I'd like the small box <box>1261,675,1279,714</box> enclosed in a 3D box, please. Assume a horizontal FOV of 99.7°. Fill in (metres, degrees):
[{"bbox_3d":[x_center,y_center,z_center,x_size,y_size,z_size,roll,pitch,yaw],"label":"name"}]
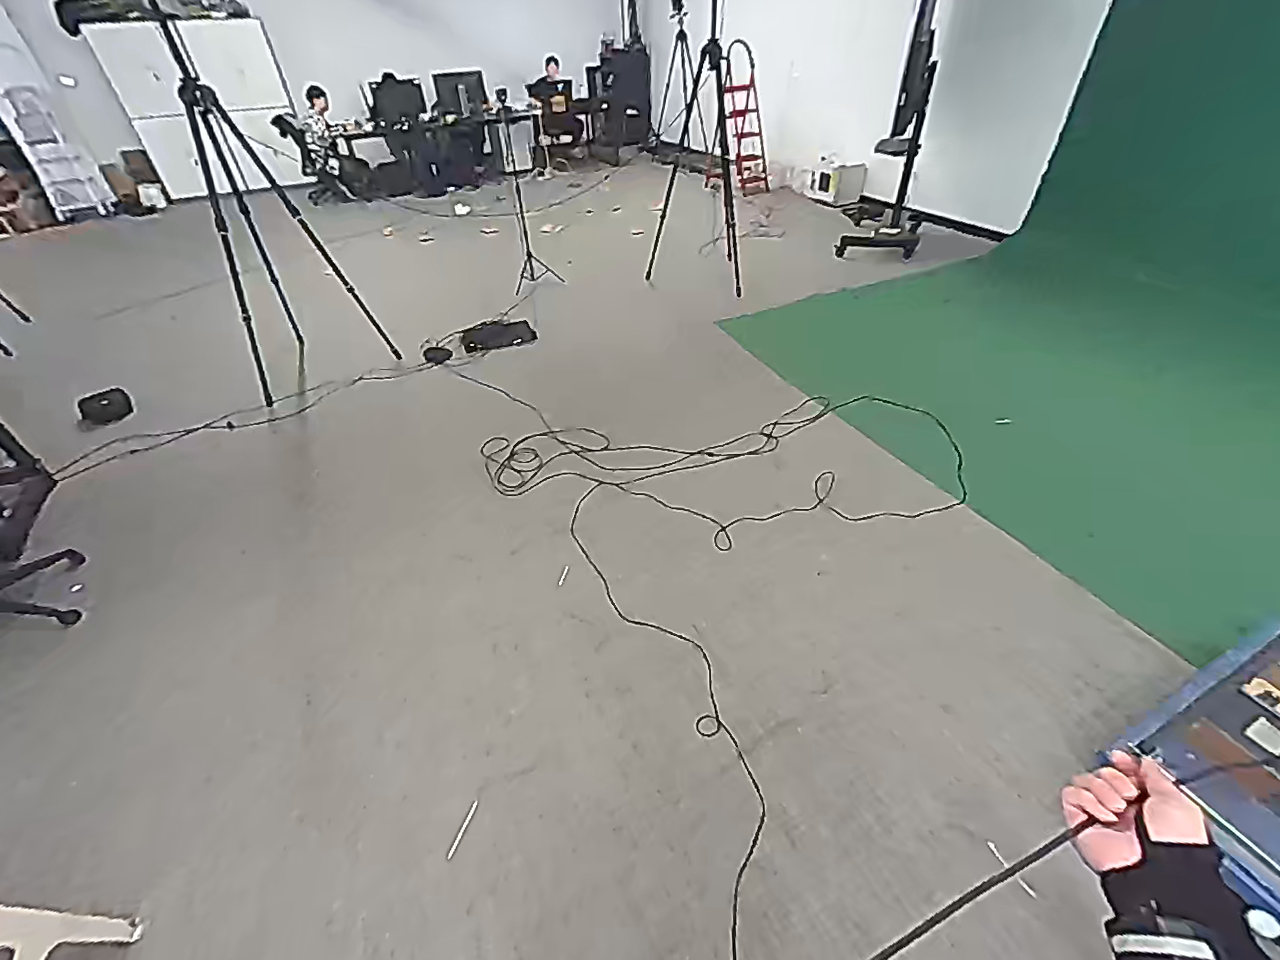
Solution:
[{"bbox_3d":[1.742,0.540,1.356,0.179,0.176,0.168,-23,44,-21],"label":"small box"}]
